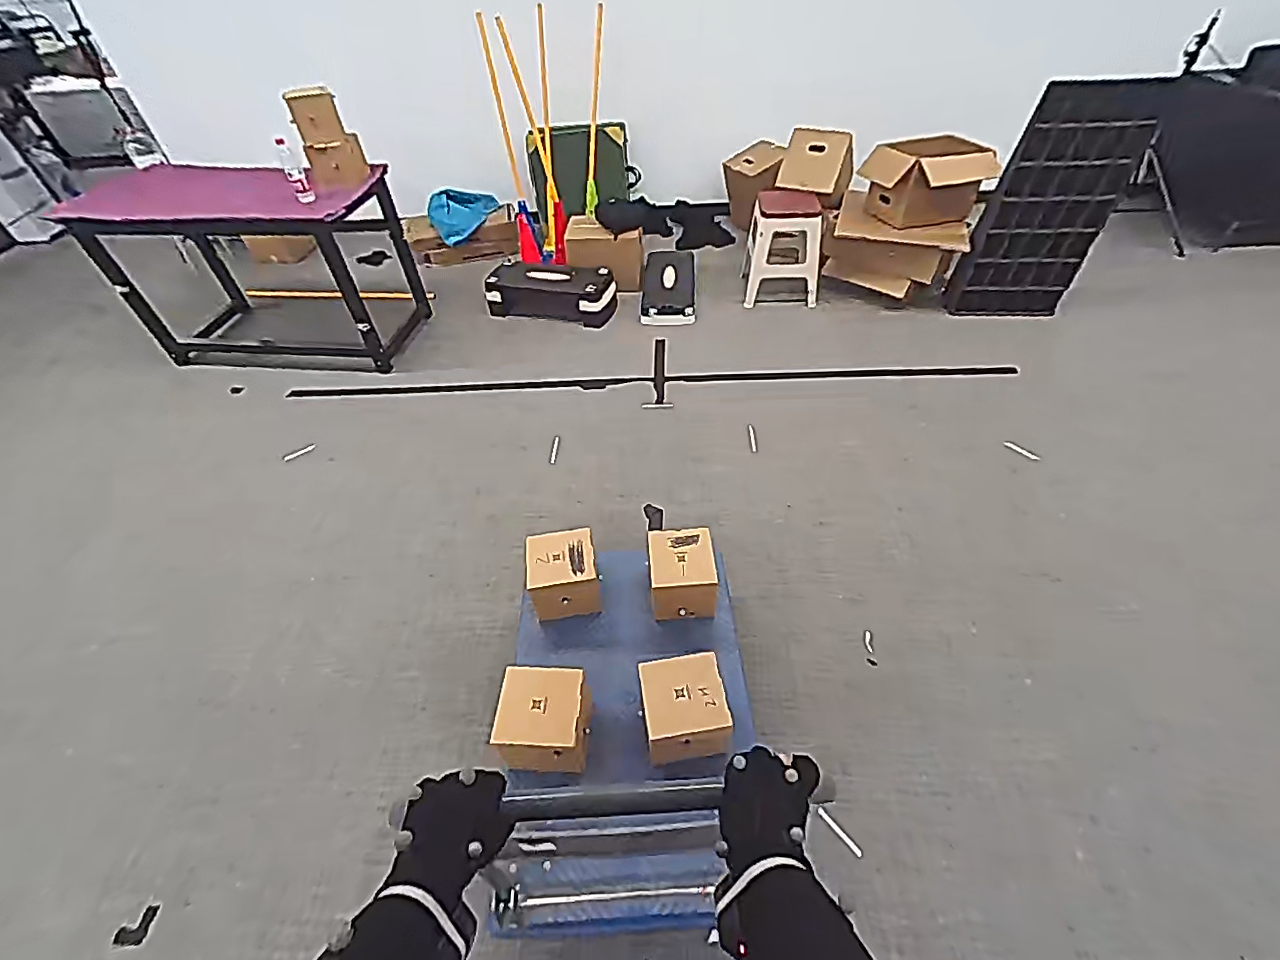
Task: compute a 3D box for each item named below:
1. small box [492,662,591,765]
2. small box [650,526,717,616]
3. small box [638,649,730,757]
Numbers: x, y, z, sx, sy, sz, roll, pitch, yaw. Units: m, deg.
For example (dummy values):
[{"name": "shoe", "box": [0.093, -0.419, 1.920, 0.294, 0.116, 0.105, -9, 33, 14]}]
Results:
[{"name": "small box", "box": [-0.211, 0.525, 1.212, 0.179, 0.176, 0.168, 2, 46, 3]}, {"name": "small box", "box": [0.111, 0.246, 1.454, 0.168, 0.176, 0.179, -4, 48, 0]}, {"name": "small box", "box": [0.095, 0.503, 1.213, 0.179, 0.176, 0.168, -8, 47, -4]}]
